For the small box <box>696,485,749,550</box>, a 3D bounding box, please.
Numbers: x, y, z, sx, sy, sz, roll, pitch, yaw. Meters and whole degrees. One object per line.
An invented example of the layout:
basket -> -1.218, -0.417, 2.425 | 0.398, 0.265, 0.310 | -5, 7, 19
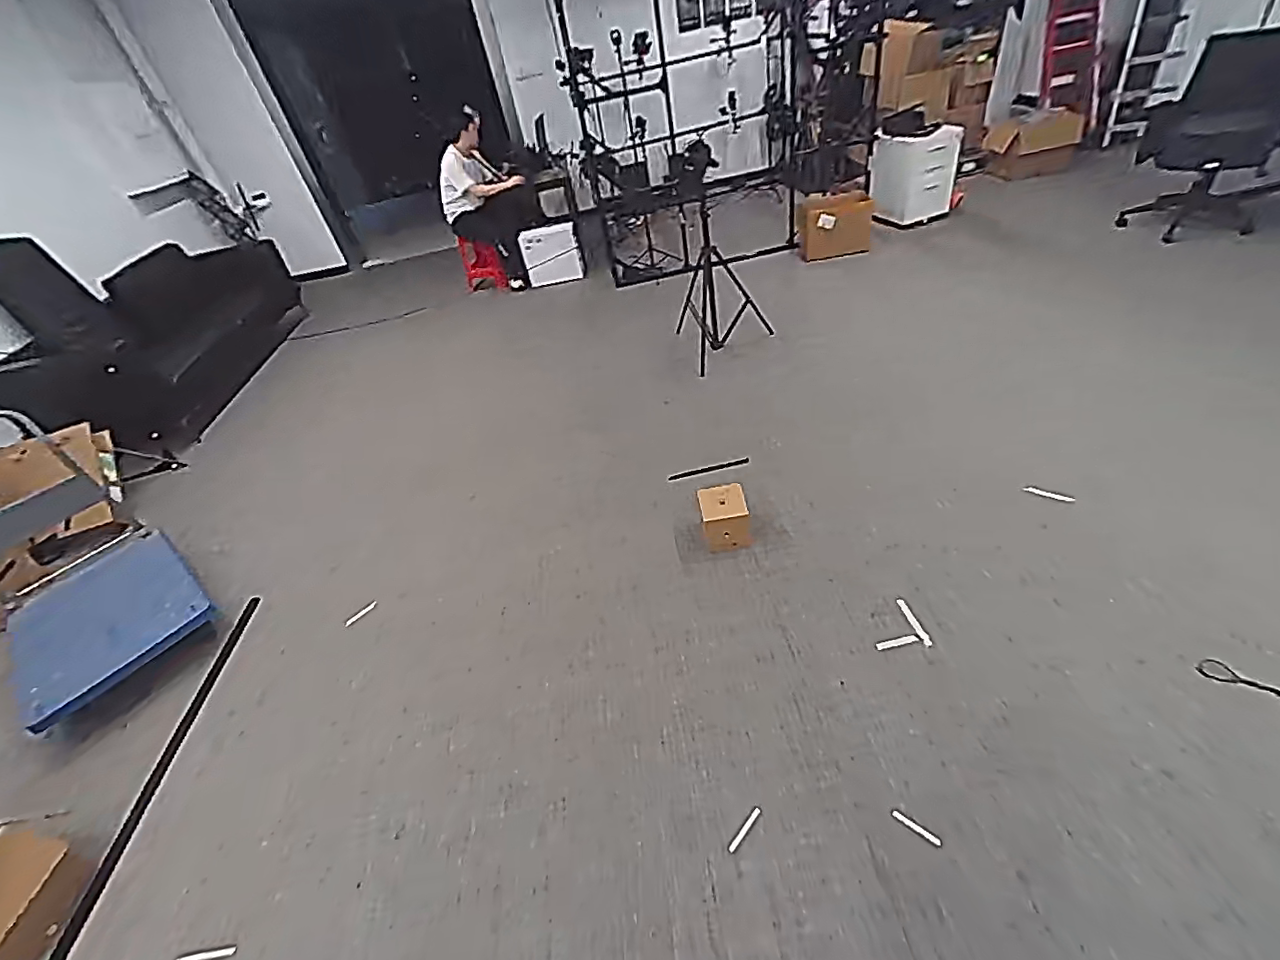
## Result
small box -> 0.312, 0.147, 2.035 | 0.168, 0.176, 0.179 | -9, 39, 4
